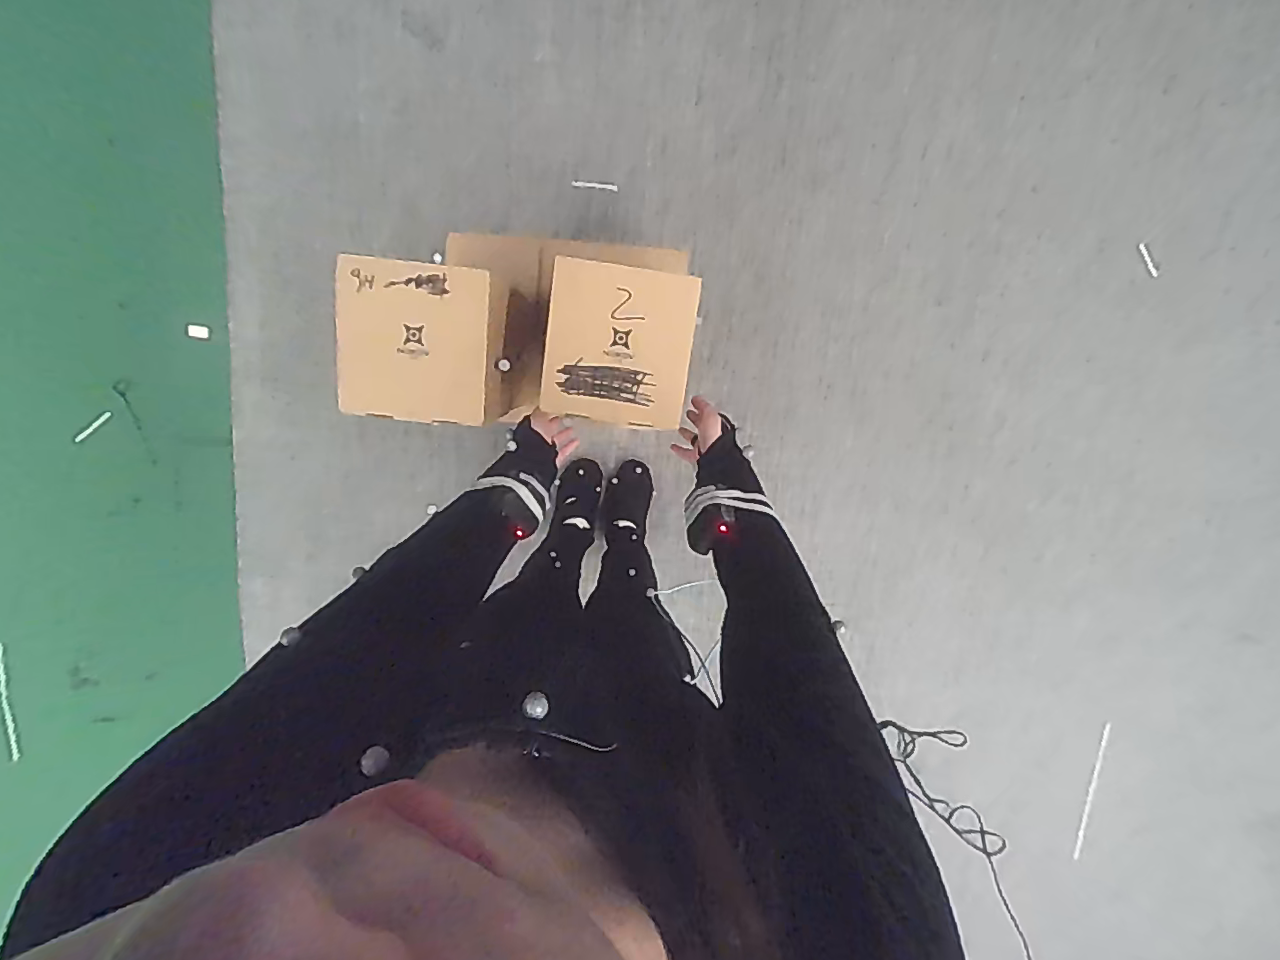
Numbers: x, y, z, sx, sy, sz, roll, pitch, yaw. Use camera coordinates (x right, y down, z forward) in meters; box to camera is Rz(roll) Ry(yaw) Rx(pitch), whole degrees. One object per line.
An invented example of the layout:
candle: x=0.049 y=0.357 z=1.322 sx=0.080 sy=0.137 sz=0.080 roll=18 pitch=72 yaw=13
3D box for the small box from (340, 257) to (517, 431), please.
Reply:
small box: x=-0.255 y=-0.167 z=0.685 sx=0.168 sy=0.176 sz=0.179 roll=6 pitch=103 yaw=-4

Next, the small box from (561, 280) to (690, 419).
small box: x=-0.023 y=-0.199 z=0.850 sx=0.168 sy=0.176 sz=0.179 roll=8 pitch=100 yaw=-3

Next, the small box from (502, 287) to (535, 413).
small box: x=-0.260 y=-0.206 z=0.844 sx=0.168 sy=0.176 sz=0.179 roll=5 pitch=102 yaw=-3
